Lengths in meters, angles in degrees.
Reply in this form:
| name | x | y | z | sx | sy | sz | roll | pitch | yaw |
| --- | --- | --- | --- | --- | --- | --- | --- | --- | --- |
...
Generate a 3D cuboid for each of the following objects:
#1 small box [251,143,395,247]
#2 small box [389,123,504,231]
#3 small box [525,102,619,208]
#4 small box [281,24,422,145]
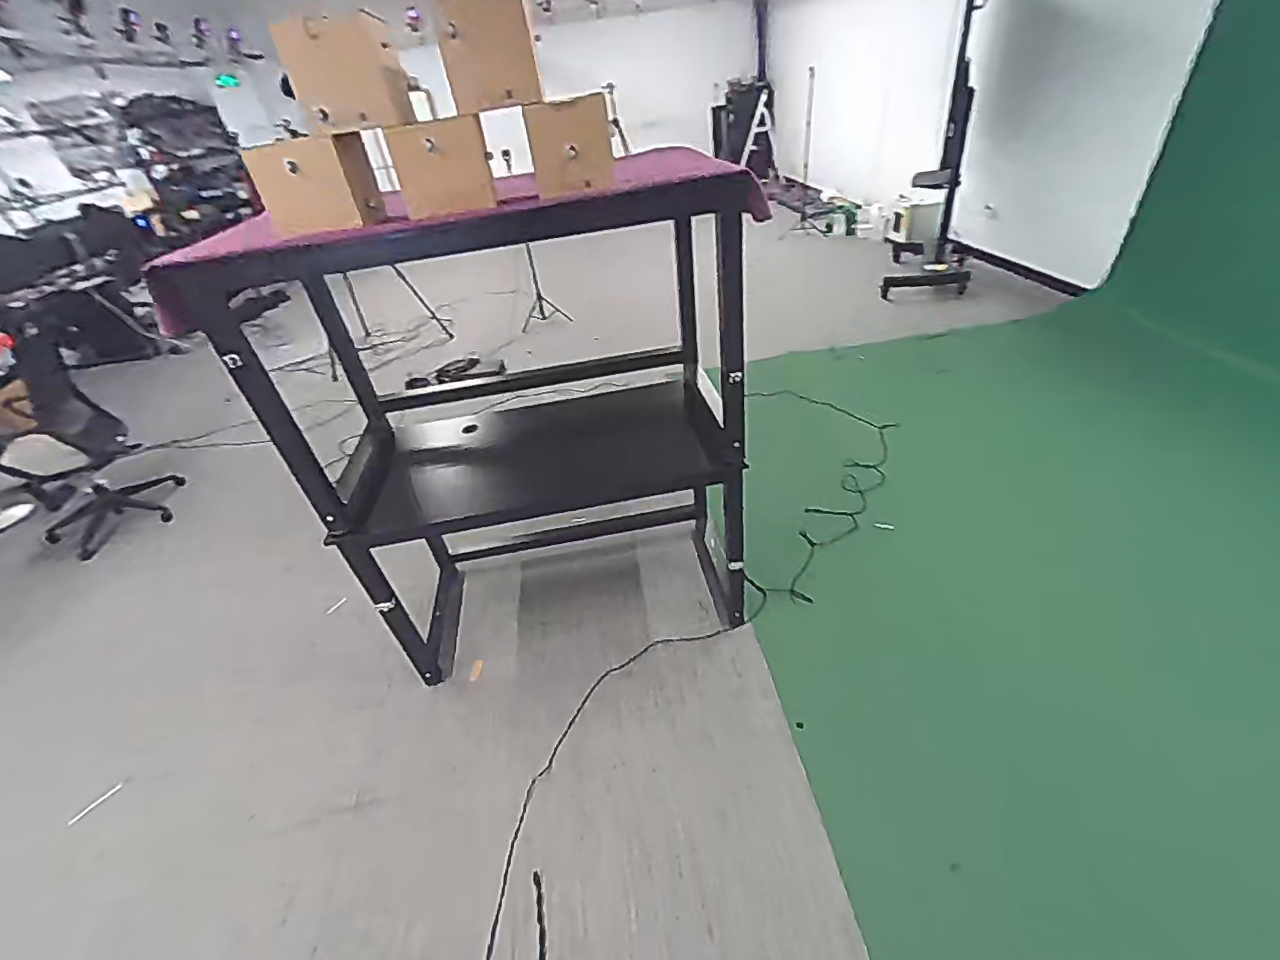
| name | x | y | z | sx | sy | sz | roll | pitch | yaw |
| --- | --- | --- | --- | --- | --- | --- | --- | --- | --- |
| small box | -0.649 | -0.598 | 1.133 | 0.179 | 0.176 | 0.168 | -7 | 35 | 1 |
| small box | -0.395 | -0.642 | 1.143 | 0.179 | 0.176 | 0.168 | -12 | 35 | -3 |
| small box | -0.140 | -0.691 | 1.155 | 0.168 | 0.176 | 0.179 | -9 | 36 | -1 |
| small box | -0.545 | -0.759 | 1.054 | 0.168 | 0.176 | 0.179 | -10 | 34 | -2 |
